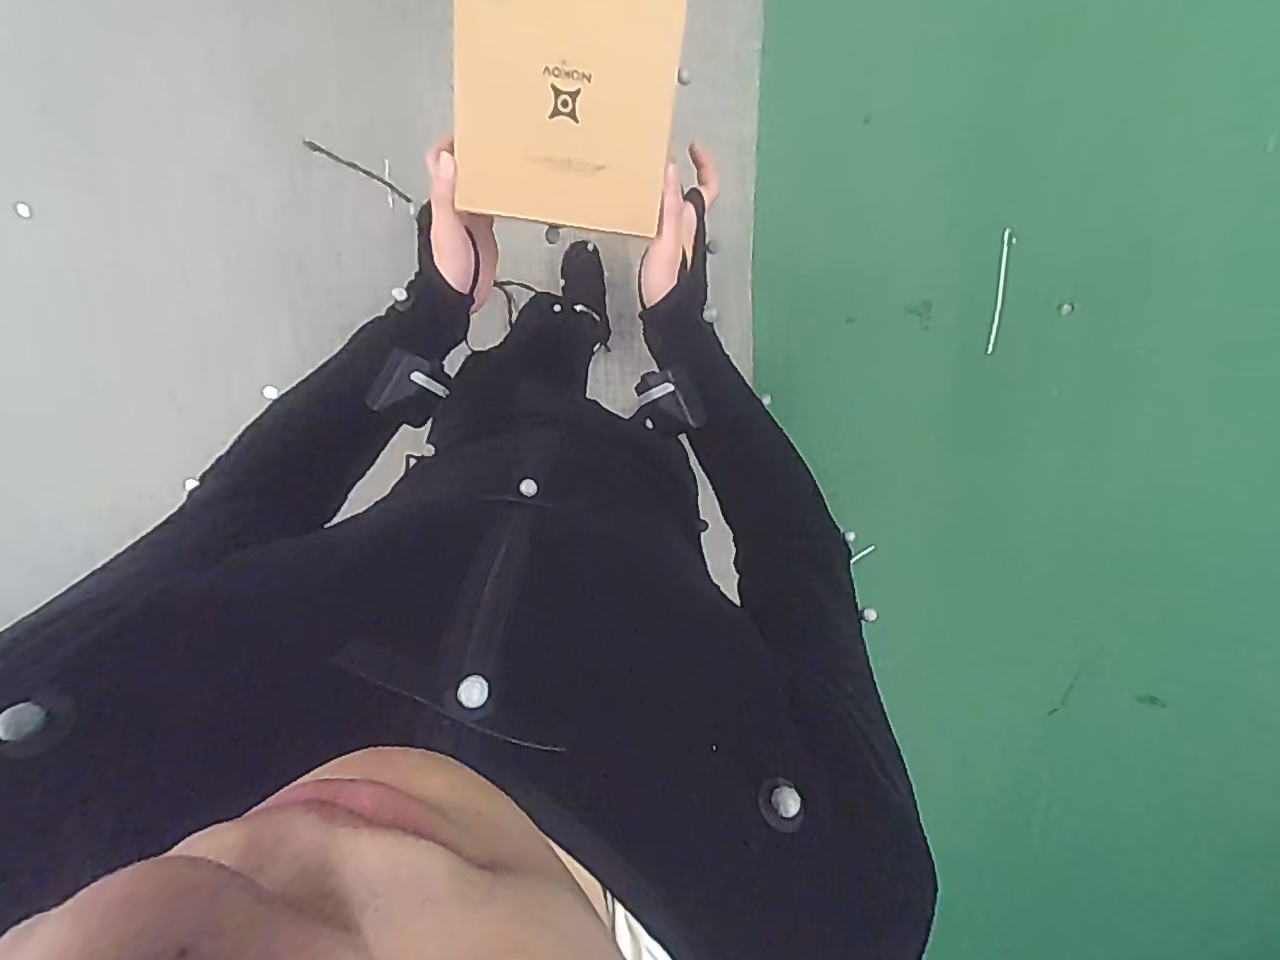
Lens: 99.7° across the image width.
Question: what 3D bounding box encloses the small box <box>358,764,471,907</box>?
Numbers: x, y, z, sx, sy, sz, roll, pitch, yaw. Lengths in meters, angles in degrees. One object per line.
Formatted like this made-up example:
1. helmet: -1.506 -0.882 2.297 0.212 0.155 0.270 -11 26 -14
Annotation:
1. small box: -0.461 0.736 1.130 0.168 0.176 0.179 5 104 2

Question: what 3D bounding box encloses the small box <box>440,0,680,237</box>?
1. small box: -0.065 -0.318 0.468 0.168 0.176 0.179 7 114 -4

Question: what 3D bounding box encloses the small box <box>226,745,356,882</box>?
1. small box: -0.724 0.692 1.139 0.168 0.176 0.179 7 104 2
